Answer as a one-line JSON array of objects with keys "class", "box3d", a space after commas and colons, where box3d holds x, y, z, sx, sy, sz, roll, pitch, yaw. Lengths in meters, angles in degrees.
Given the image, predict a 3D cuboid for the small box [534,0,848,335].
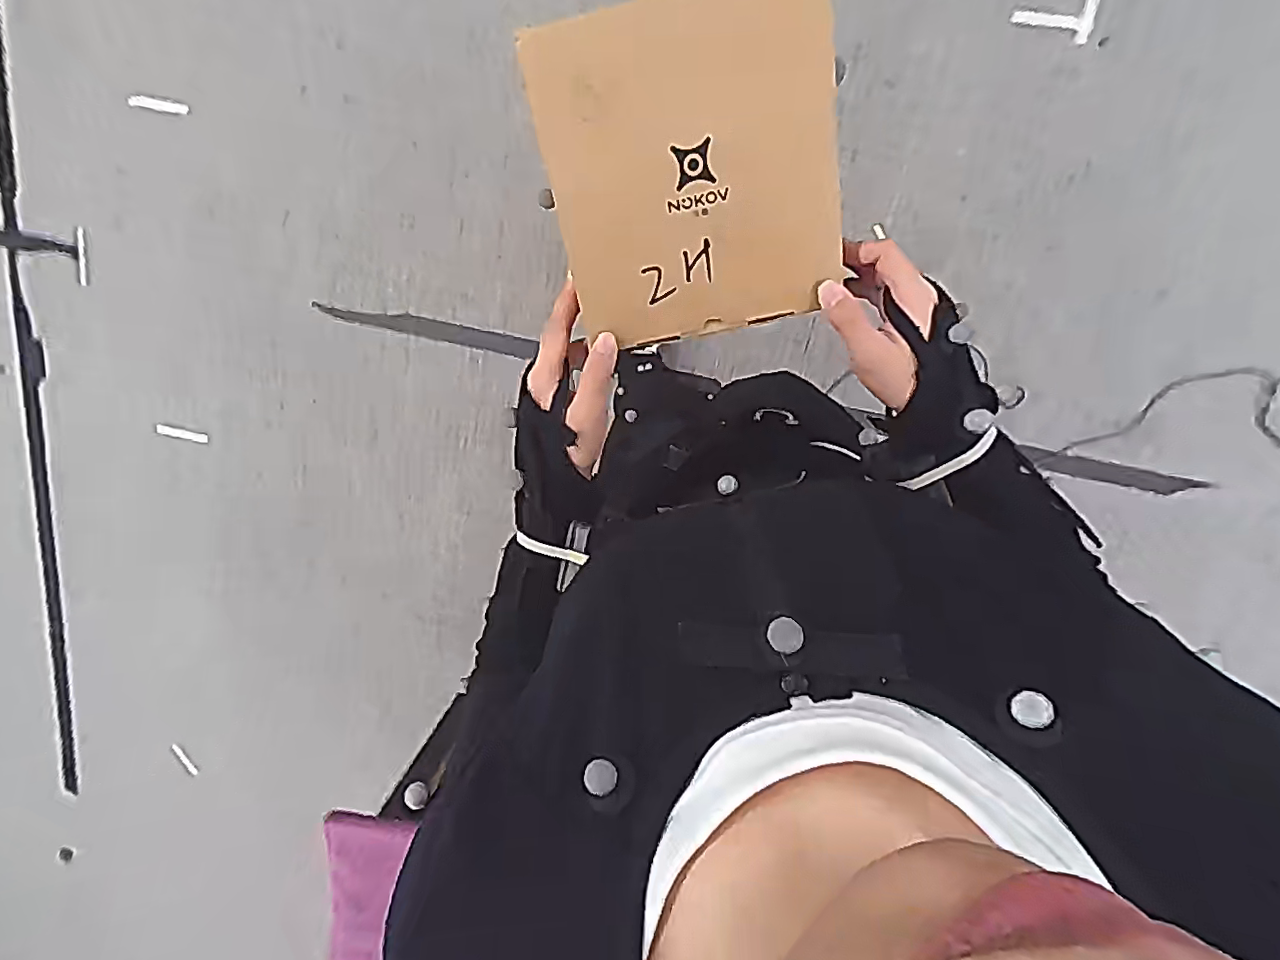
[{"class": "small box", "box3d": [0.037, -0.216, 0.383, 0.168, 0.176, 0.179, -8, 115, 6]}]
